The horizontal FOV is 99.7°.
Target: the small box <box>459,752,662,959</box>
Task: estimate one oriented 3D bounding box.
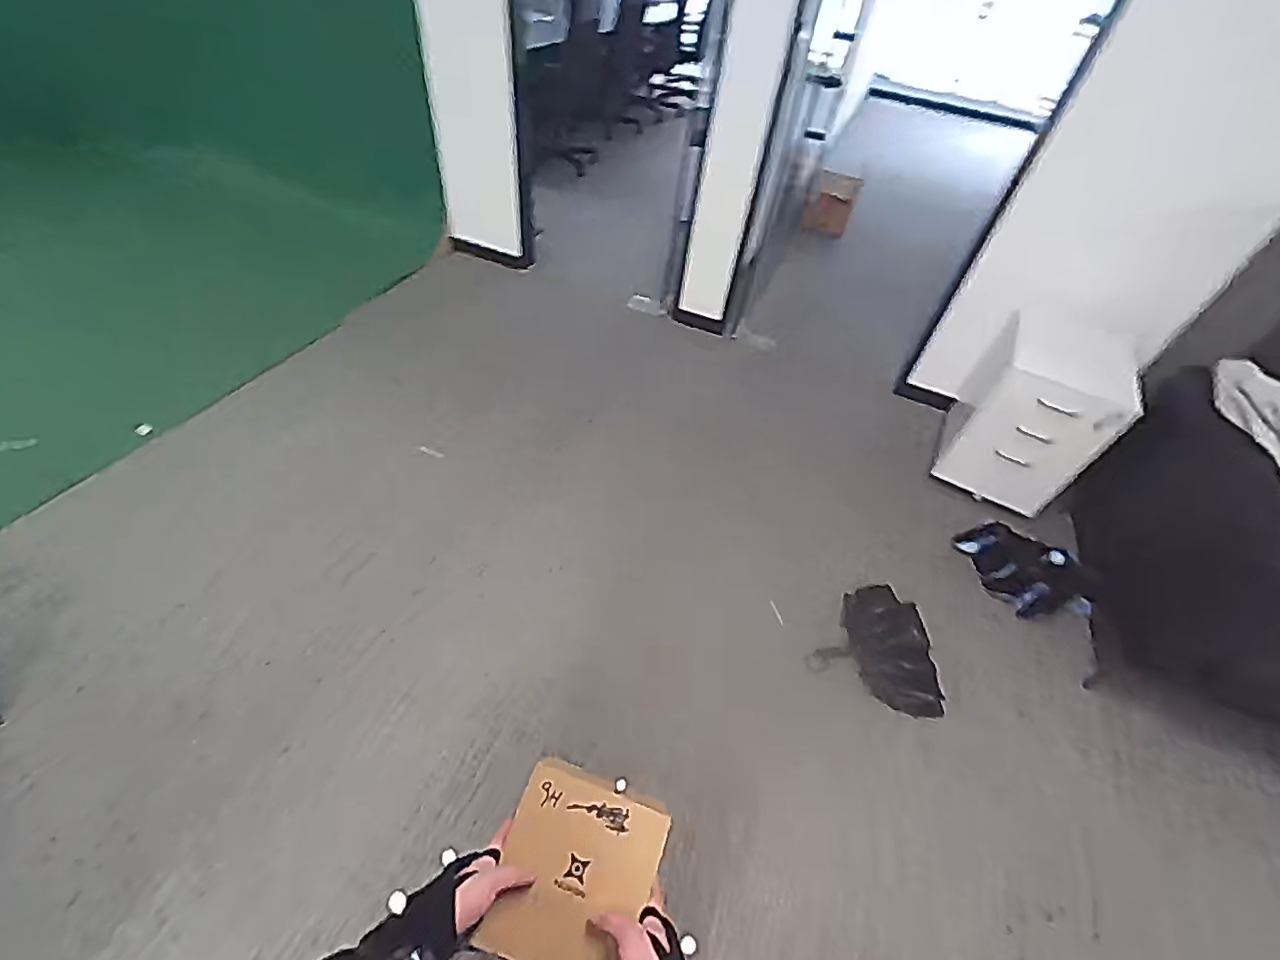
[{"bbox_3d":[-0.080,0.442,0.638,0.168,0.176,0.179,19,67,6],"label":"small box"}]
